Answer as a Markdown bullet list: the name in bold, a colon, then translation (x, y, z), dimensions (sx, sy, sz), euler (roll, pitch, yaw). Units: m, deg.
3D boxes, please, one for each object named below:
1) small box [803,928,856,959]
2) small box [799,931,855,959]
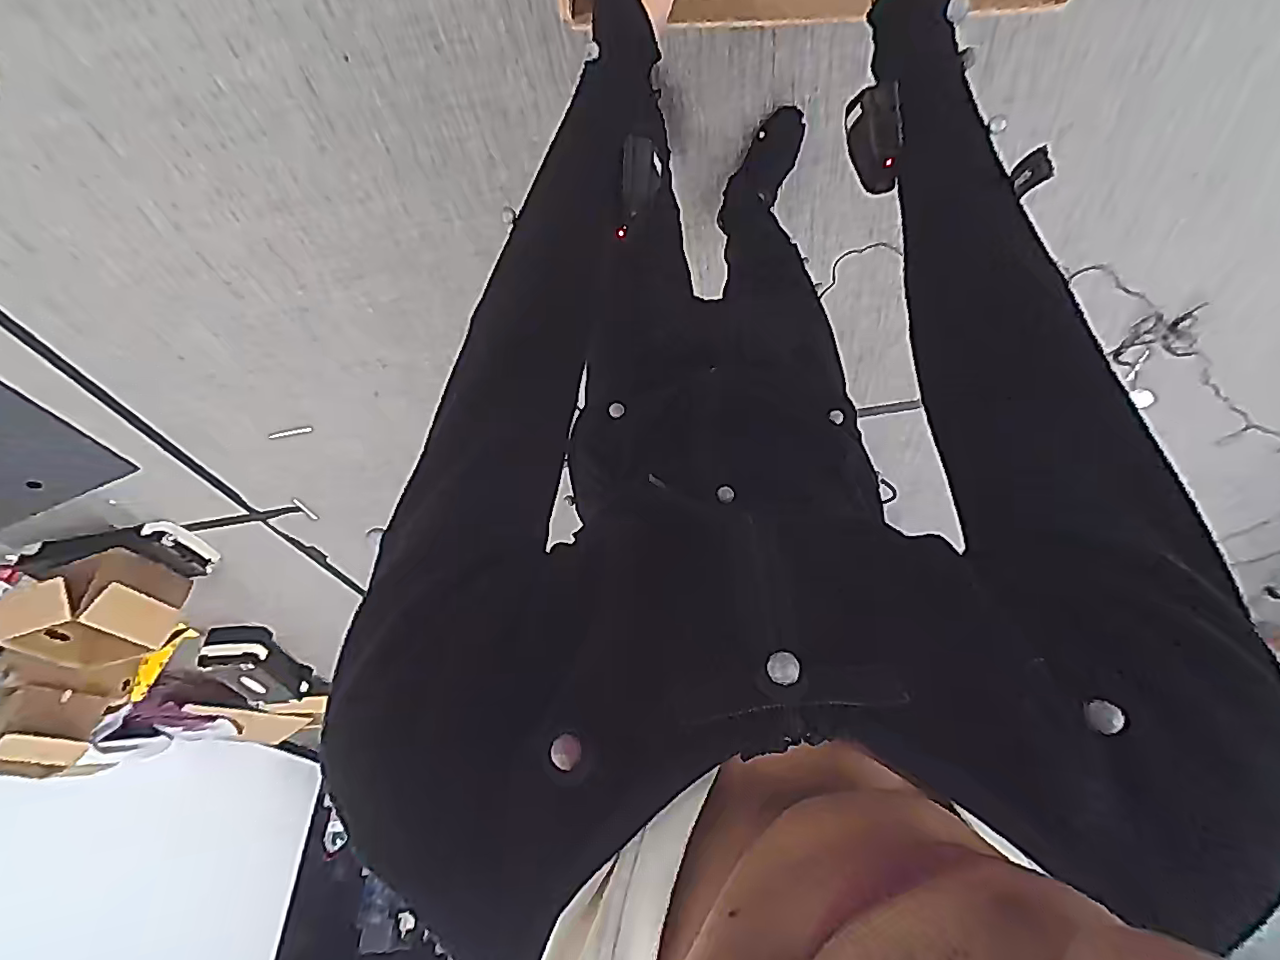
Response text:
- **small box**: translation (0.730, 1.835, 2.072), dimensions (0.179, 0.176, 0.168), euler (-10, 141, 6)
- **small box**: translation (0.663, 1.694, 1.889), dimensions (0.168, 0.176, 0.179), euler (-10, 142, 4)
